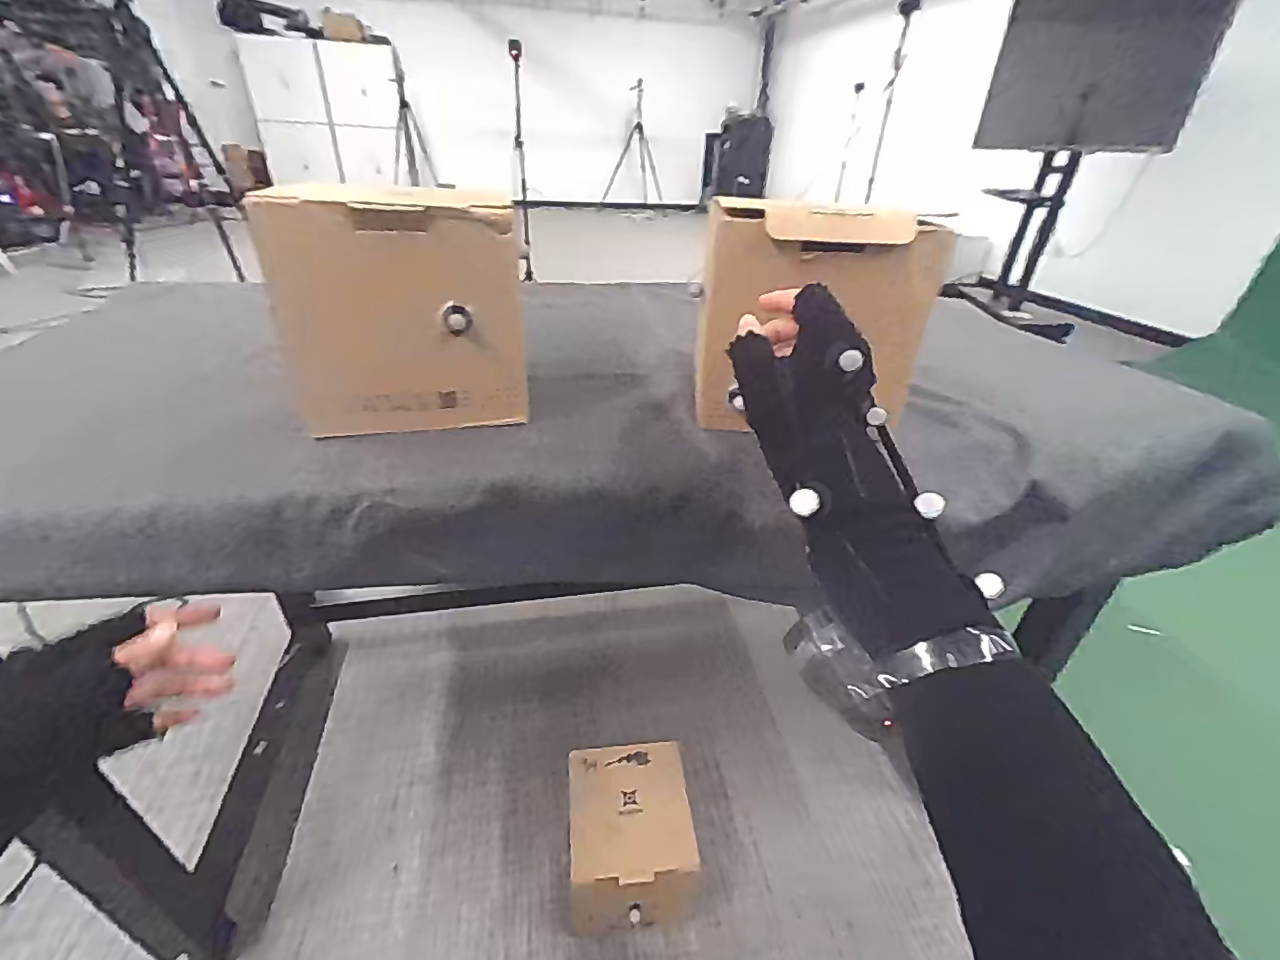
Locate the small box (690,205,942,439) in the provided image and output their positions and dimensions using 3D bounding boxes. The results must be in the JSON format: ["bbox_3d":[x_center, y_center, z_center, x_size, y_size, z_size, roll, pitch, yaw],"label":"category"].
[{"bbox_3d":[0.136,-0.148,0.491,0.168,0.176,0.179,4,31,3],"label":"small box"}]

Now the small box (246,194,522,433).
[{"bbox_3d":[-0.194,-0.145,0.465,0.168,0.176,0.179,-5,30,-15],"label":"small box"}]
